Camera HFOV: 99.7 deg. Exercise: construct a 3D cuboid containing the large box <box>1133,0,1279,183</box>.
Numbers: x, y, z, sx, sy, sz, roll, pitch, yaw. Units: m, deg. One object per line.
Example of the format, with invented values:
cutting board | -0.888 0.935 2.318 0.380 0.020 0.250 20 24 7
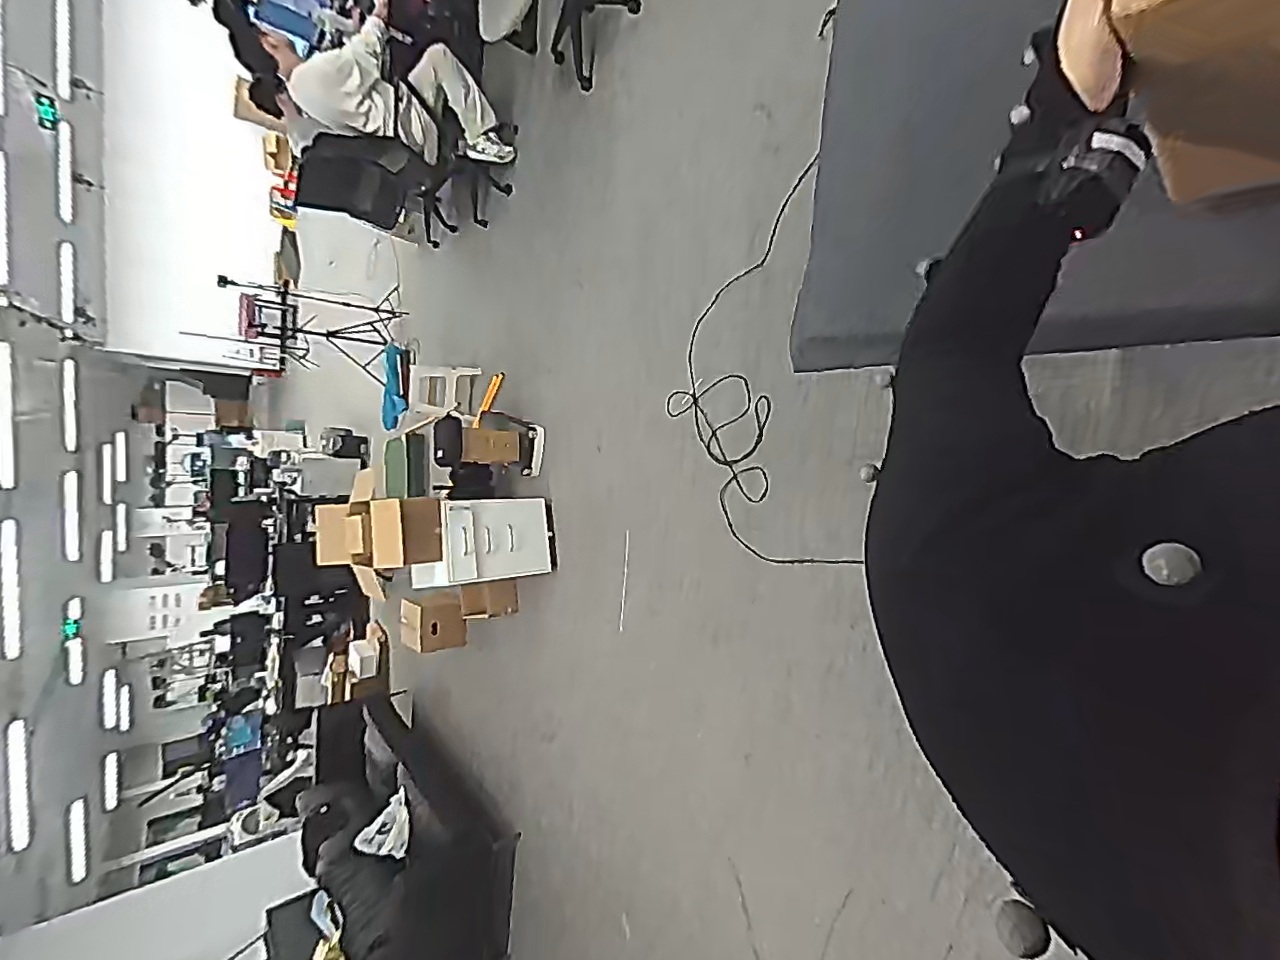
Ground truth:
large box | 0.579 -0.438 0.301 0.408 0.320 0.320 10 95 50
